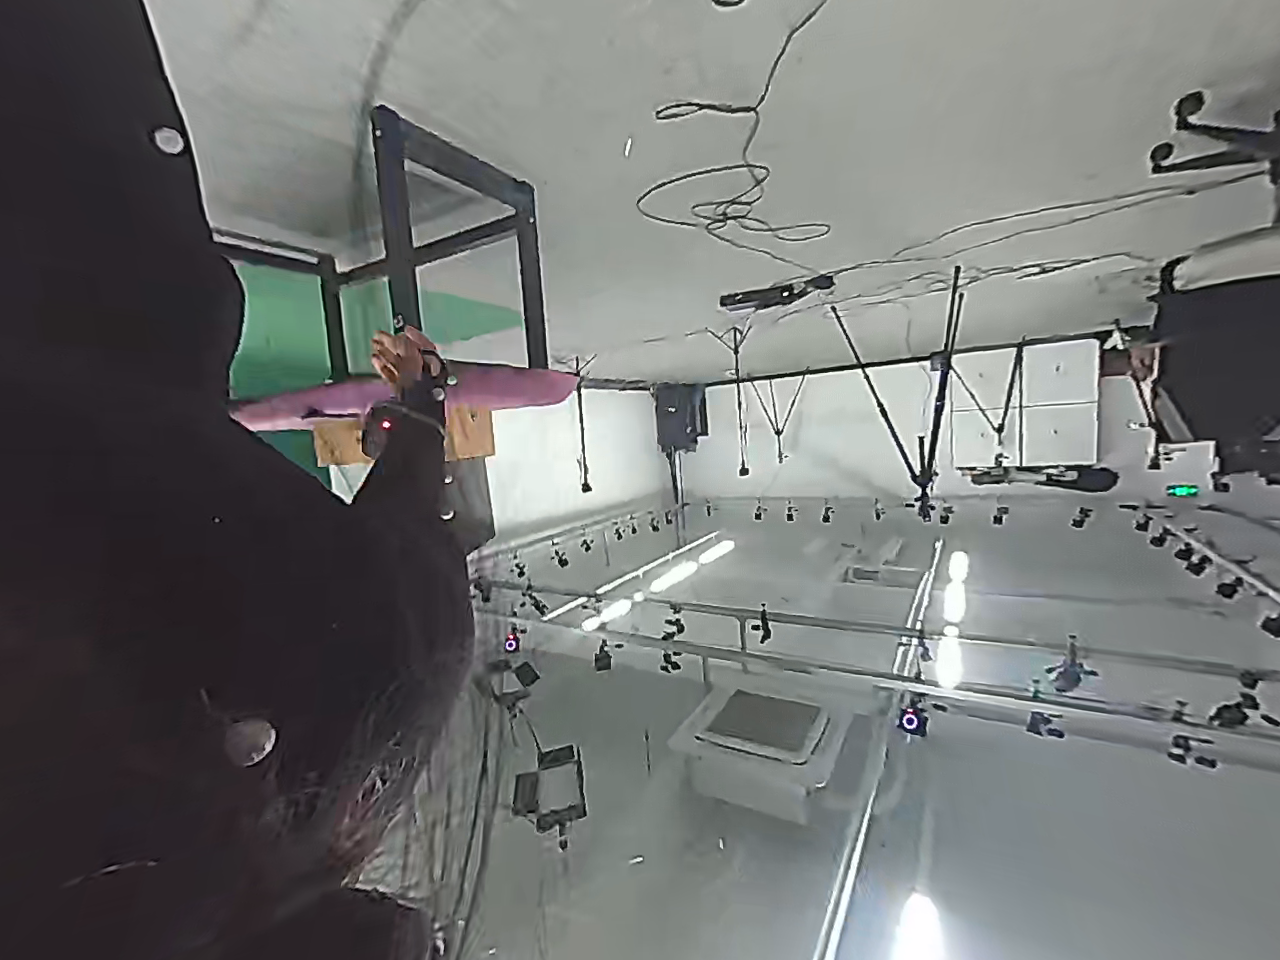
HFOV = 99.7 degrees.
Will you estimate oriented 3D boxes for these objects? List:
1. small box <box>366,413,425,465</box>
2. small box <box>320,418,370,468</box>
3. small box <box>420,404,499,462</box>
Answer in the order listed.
[{"bbox_3d":[-0.810,-0.144,1.857,0.168,0.176,0.179,-1,-175,34],"label":"small box"},{"bbox_3d":[-1.041,-0.138,1.976,0.179,0.176,0.168,-2,-175,26],"label":"small box"},{"bbox_3d":[-0.577,-0.150,1.725,0.168,0.176,0.179,-1,-175,28],"label":"small box"}]
